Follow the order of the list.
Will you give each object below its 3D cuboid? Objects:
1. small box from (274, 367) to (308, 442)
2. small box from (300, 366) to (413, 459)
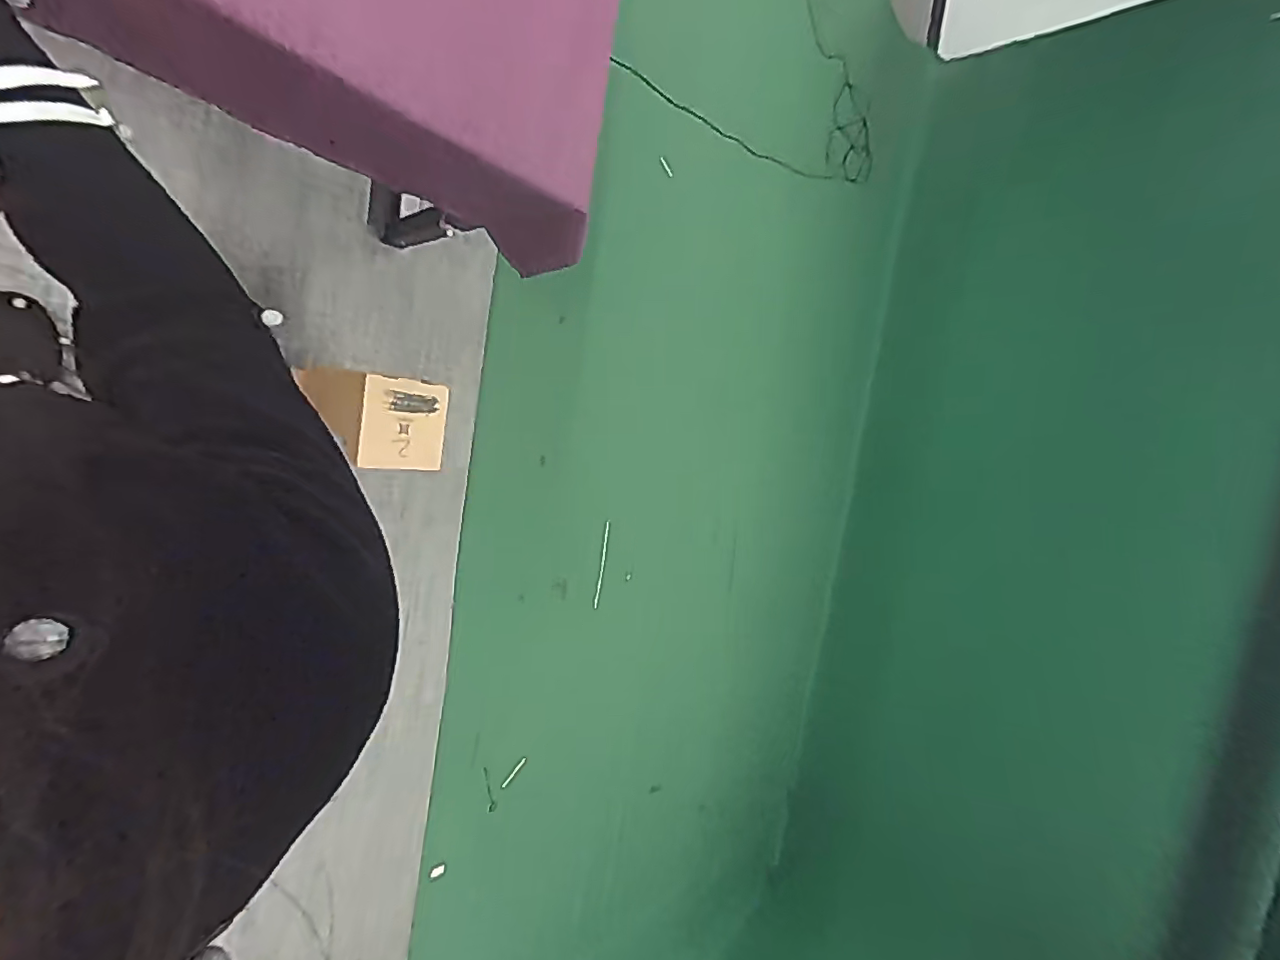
[{"bbox_3d":[-0.758,-0.177,1.300,0.179,0.176,0.168,0,100,-49],"label":"small box"},{"bbox_3d":[-0.632,-0.150,1.200,0.168,0.176,0.179,3,97,-50],"label":"small box"}]
